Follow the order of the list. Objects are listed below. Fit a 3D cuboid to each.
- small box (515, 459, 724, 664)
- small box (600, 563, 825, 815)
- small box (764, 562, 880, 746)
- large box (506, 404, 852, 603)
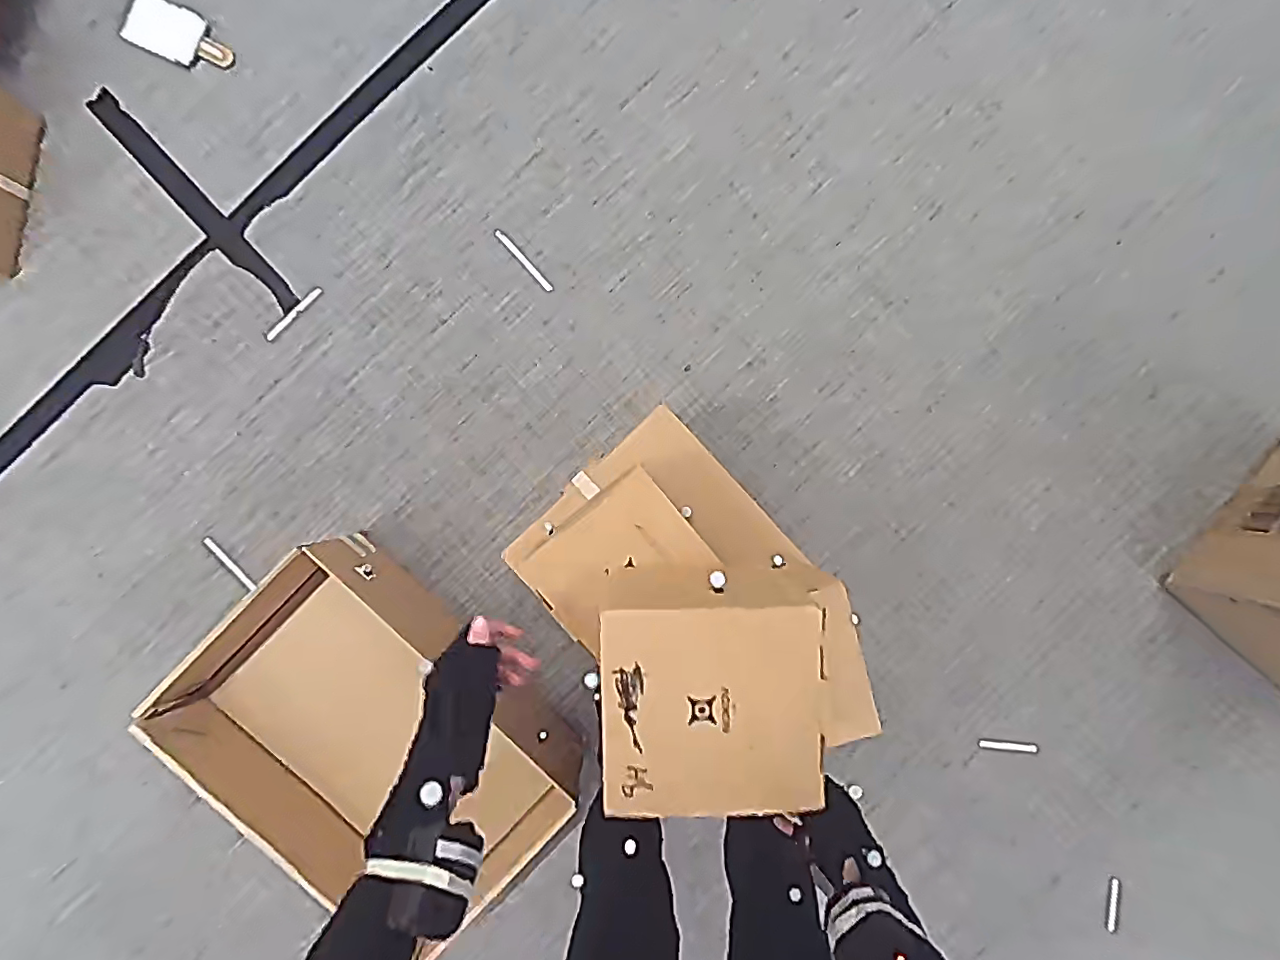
[{"bbox_3d":[-0.021,0.091,0.656,0.179,0.176,0.168,-41,95,-1],"label":"small box"},{"bbox_3d":[0.053,0.172,0.495,0.179,0.176,0.168,-1,92,-1],"label":"small box"},{"bbox_3d":[0.160,0.207,0.663,0.168,0.176,0.179,-14,93,-1],"label":"small box"},{"bbox_3d":[0.050,0.131,0.902,0.320,0.320,0.408,-44,93,1],"label":"large box"}]
